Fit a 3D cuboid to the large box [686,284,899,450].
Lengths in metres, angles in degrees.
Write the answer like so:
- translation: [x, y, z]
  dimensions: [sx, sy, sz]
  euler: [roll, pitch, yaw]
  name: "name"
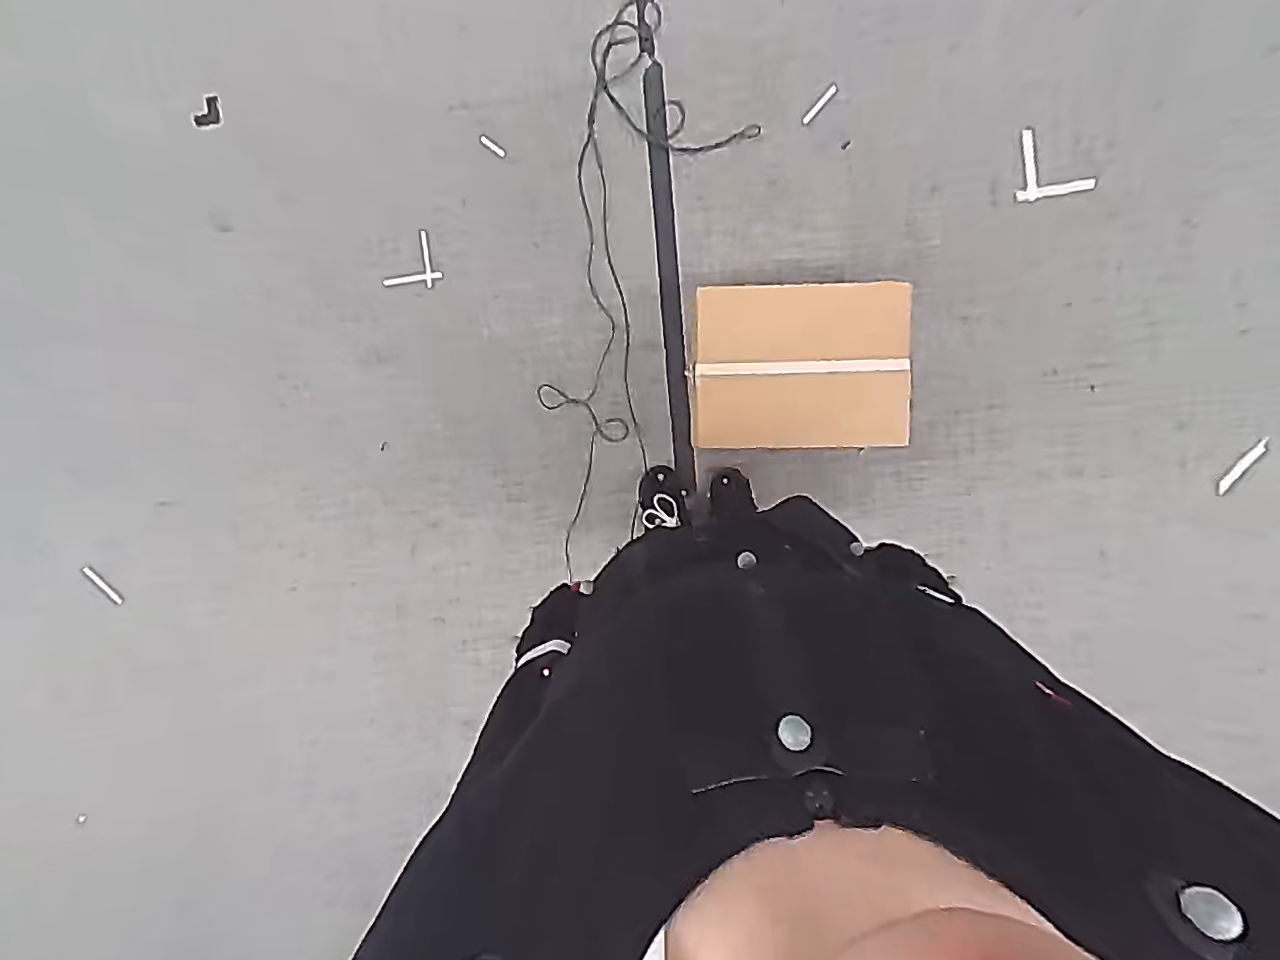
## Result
- translation: [0.310, -0.228, 1.199]
  dimensions: [0.408, 0.320, 0.320]
  euler: [0, 93, 3]
  name: "large box"
